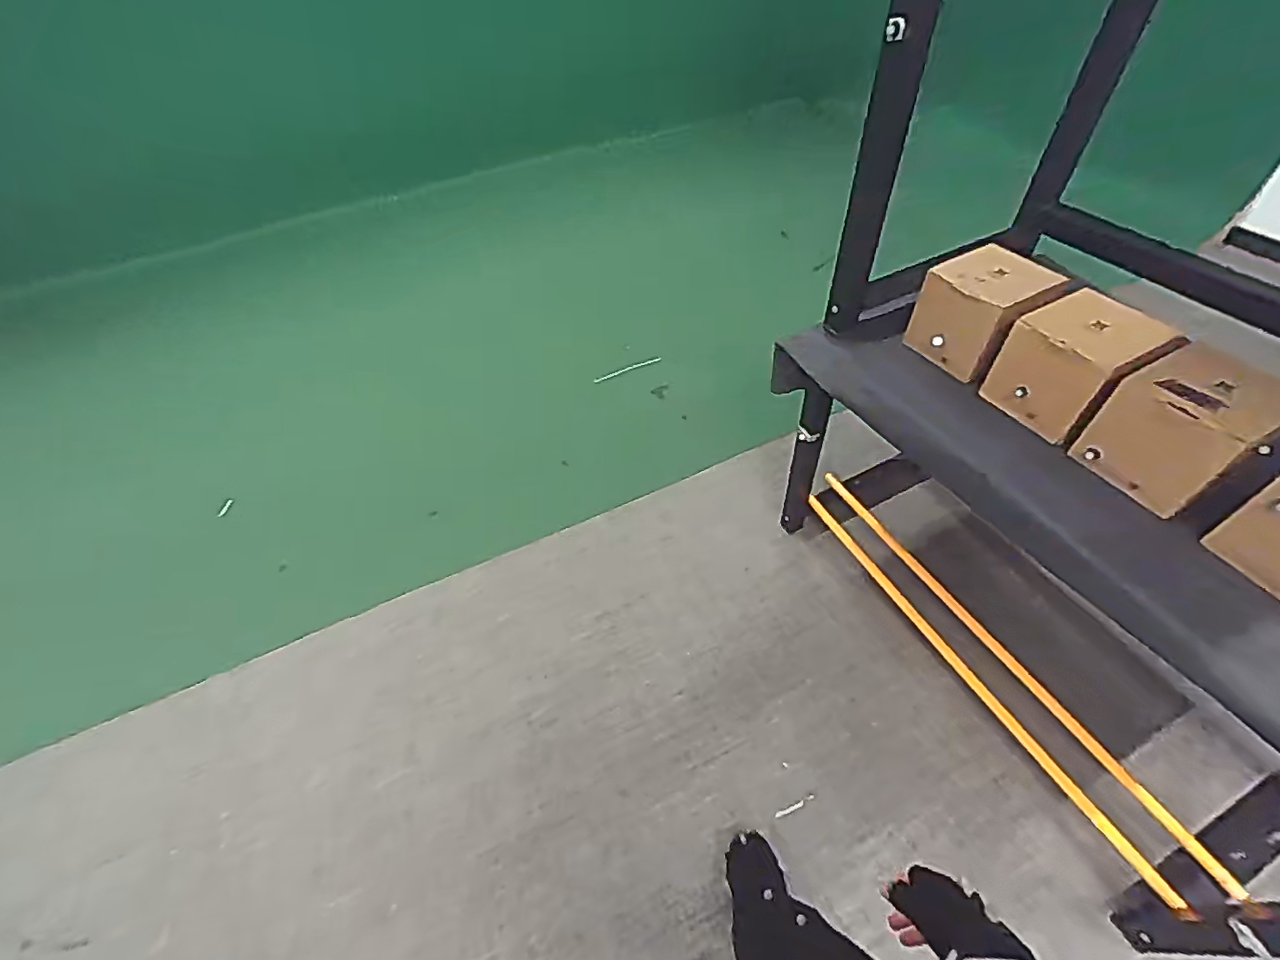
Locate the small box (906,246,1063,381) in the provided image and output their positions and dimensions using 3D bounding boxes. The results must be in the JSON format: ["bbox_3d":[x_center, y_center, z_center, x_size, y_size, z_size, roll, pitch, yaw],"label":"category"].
[{"bbox_3d":[0.668,-0.329,1.073,0.179,0.176,0.168,-25,52,-14],"label":"small box"}]
